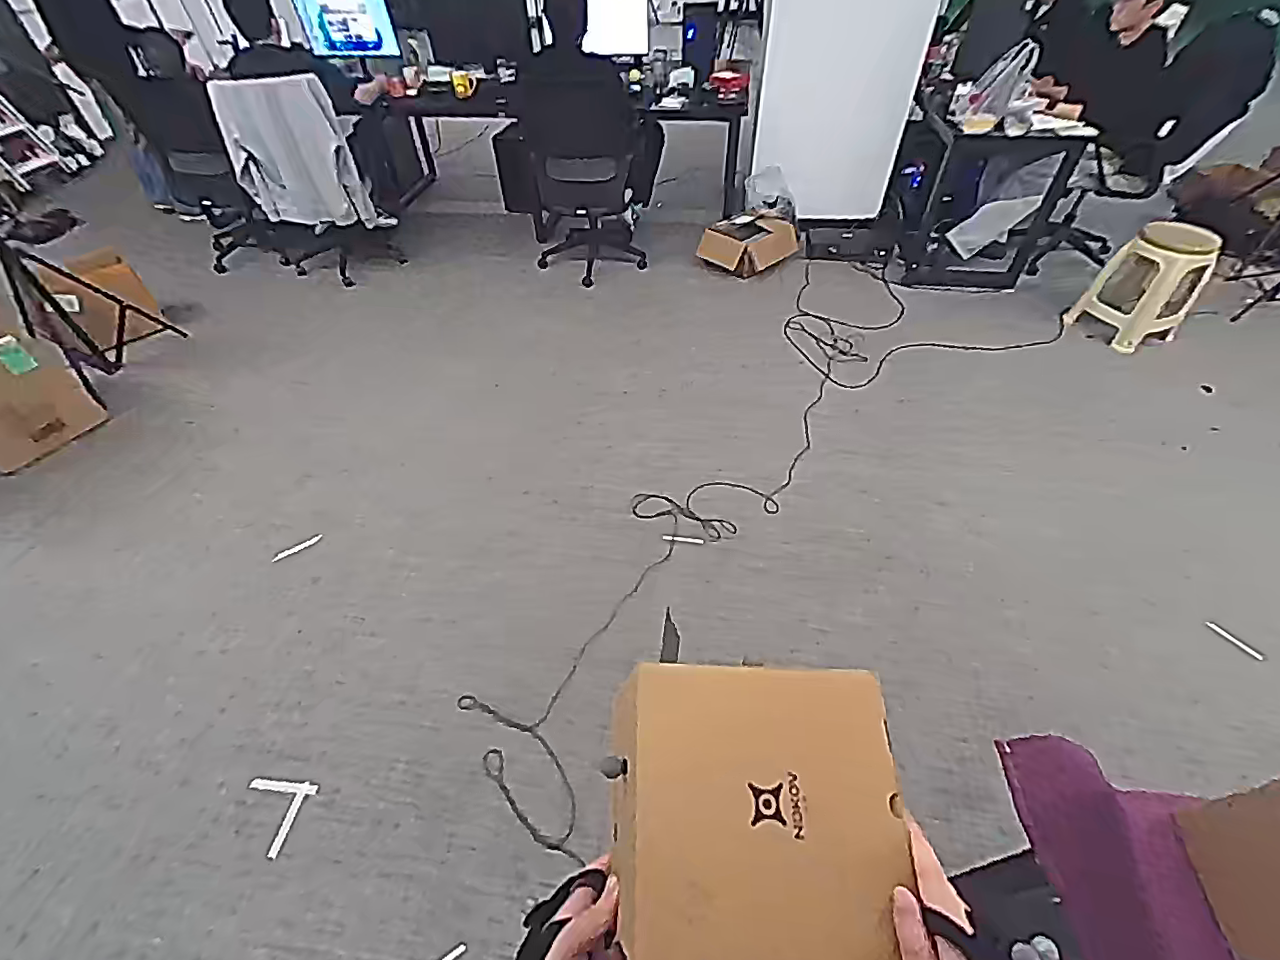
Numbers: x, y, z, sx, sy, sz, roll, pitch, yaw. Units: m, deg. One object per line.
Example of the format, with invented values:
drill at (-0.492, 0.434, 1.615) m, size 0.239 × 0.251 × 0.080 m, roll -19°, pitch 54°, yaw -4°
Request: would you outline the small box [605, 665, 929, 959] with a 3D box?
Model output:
small box at (0.069, 0.243, 0.403) m, size 0.179 × 0.176 × 0.168 m, roll 5°, pitch 59°, yaw -7°
